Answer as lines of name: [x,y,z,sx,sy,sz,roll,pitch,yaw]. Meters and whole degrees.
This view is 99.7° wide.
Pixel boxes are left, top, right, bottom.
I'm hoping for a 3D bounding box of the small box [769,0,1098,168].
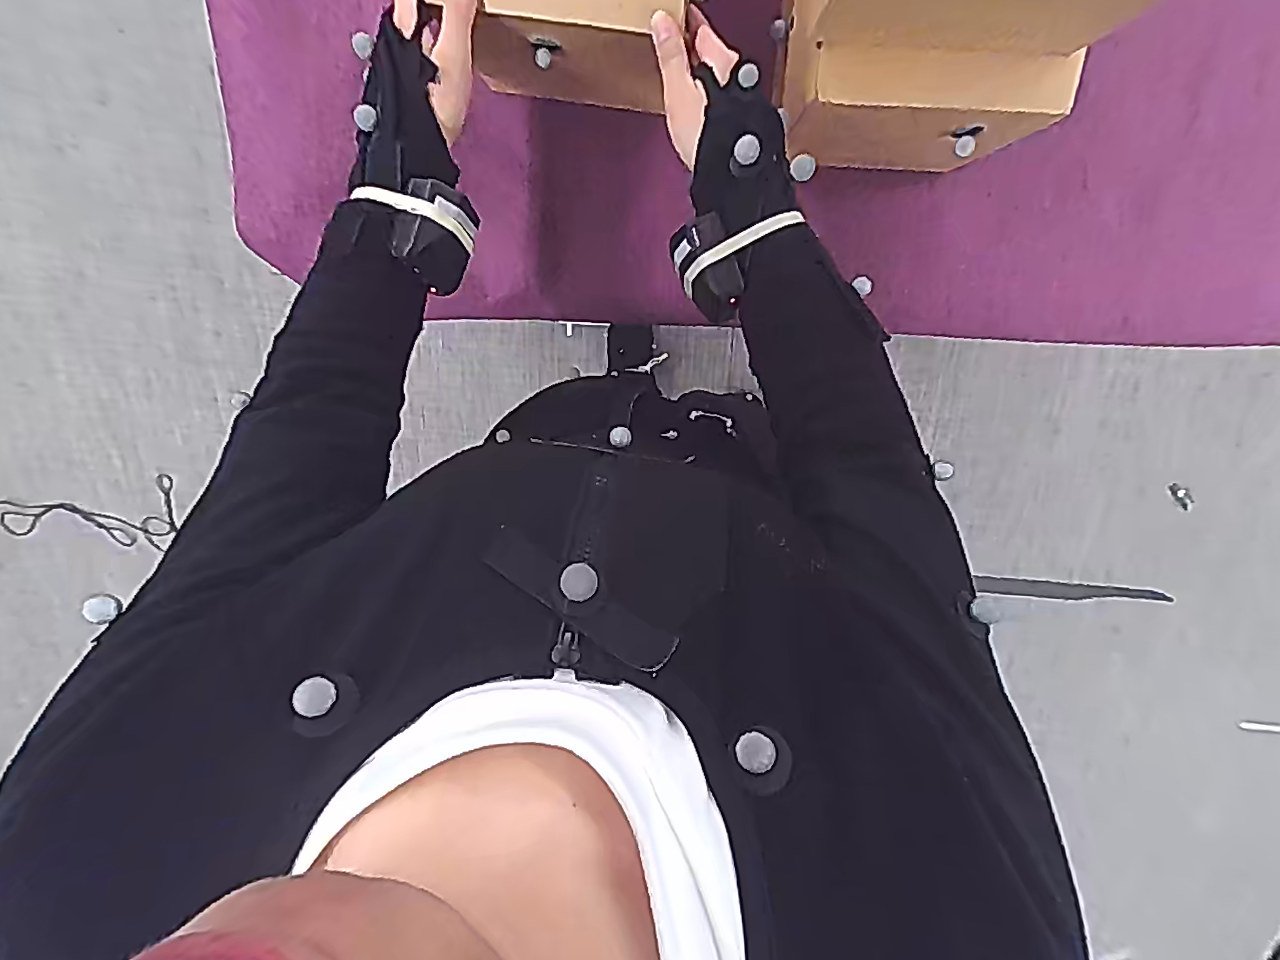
small box: [0.210,-0.353,0.415,0.179,0.176,0.168,4,107,2]
